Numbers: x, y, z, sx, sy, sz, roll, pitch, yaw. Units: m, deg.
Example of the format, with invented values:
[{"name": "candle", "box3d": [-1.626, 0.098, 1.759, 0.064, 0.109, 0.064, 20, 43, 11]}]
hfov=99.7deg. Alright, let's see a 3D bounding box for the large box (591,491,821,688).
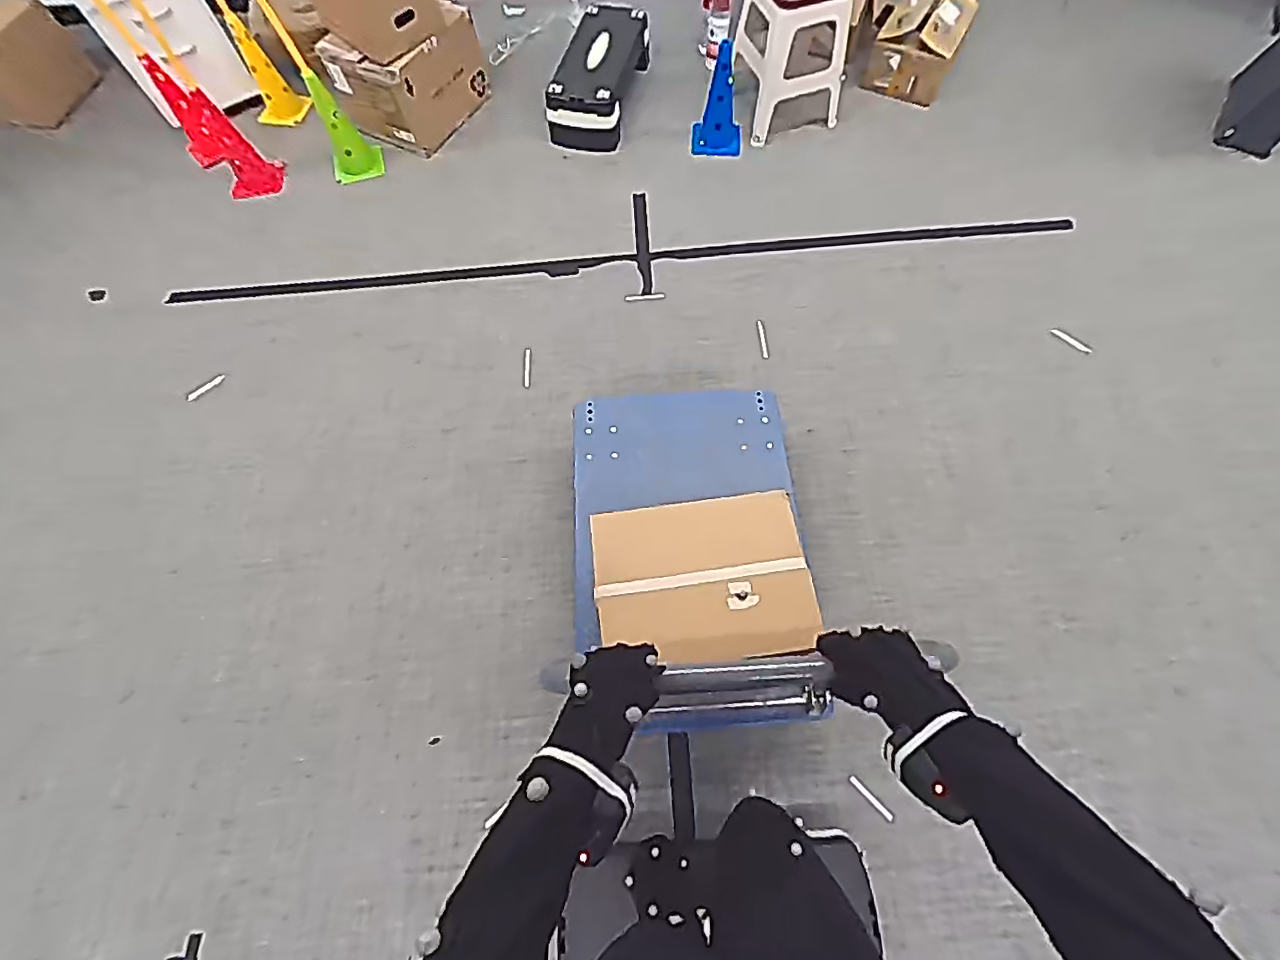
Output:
[{"name": "large box", "box3d": [0.119, 0.251, 1.182, 0.408, 0.320, 0.320, -8, 66, -3]}]
